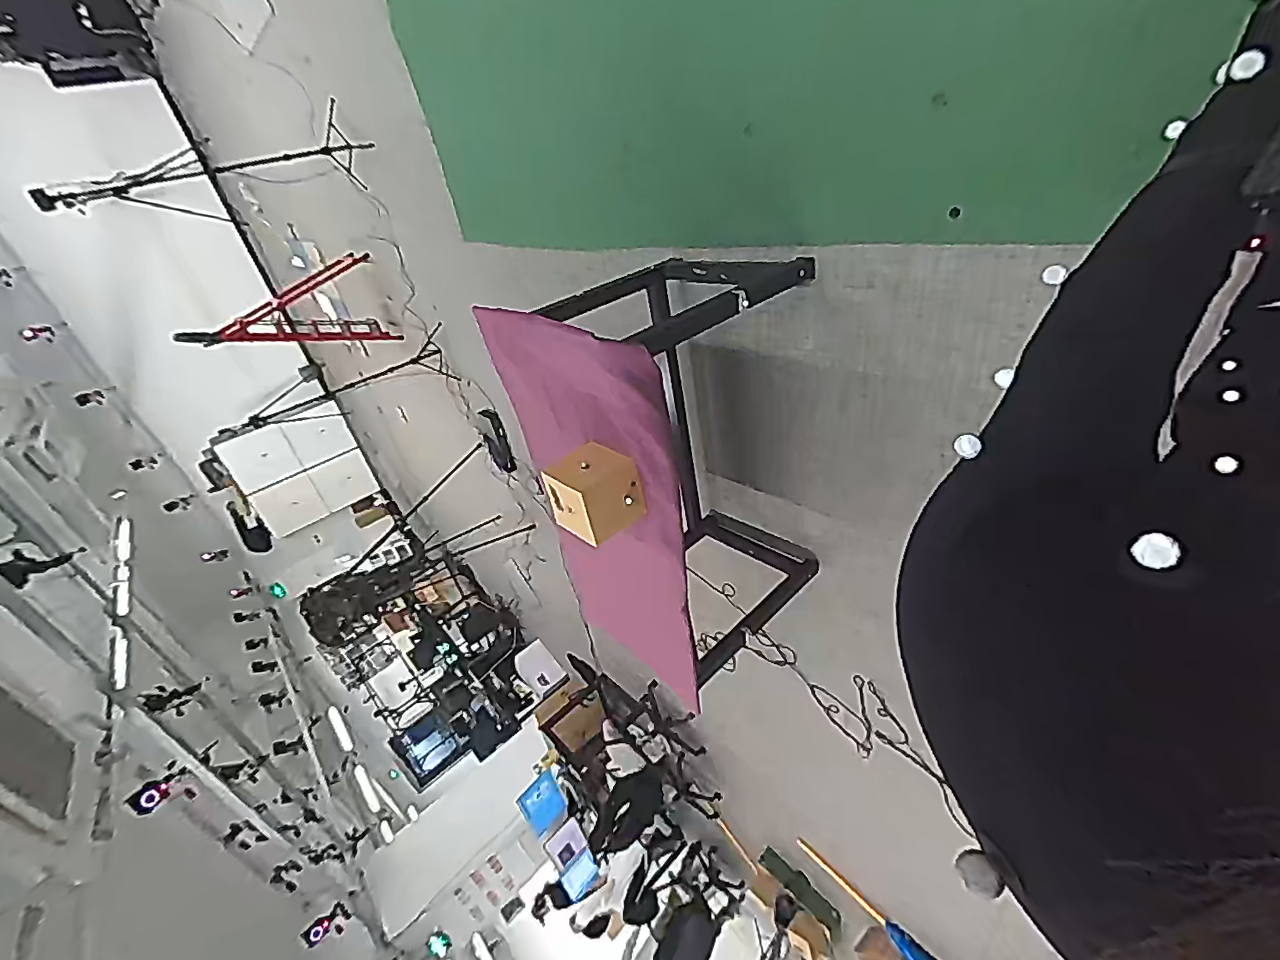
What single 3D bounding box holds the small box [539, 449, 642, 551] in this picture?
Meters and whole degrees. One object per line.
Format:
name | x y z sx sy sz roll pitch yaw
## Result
small box | -0.120 0.041 1.341 0.179 0.176 0.168 24 136 44
